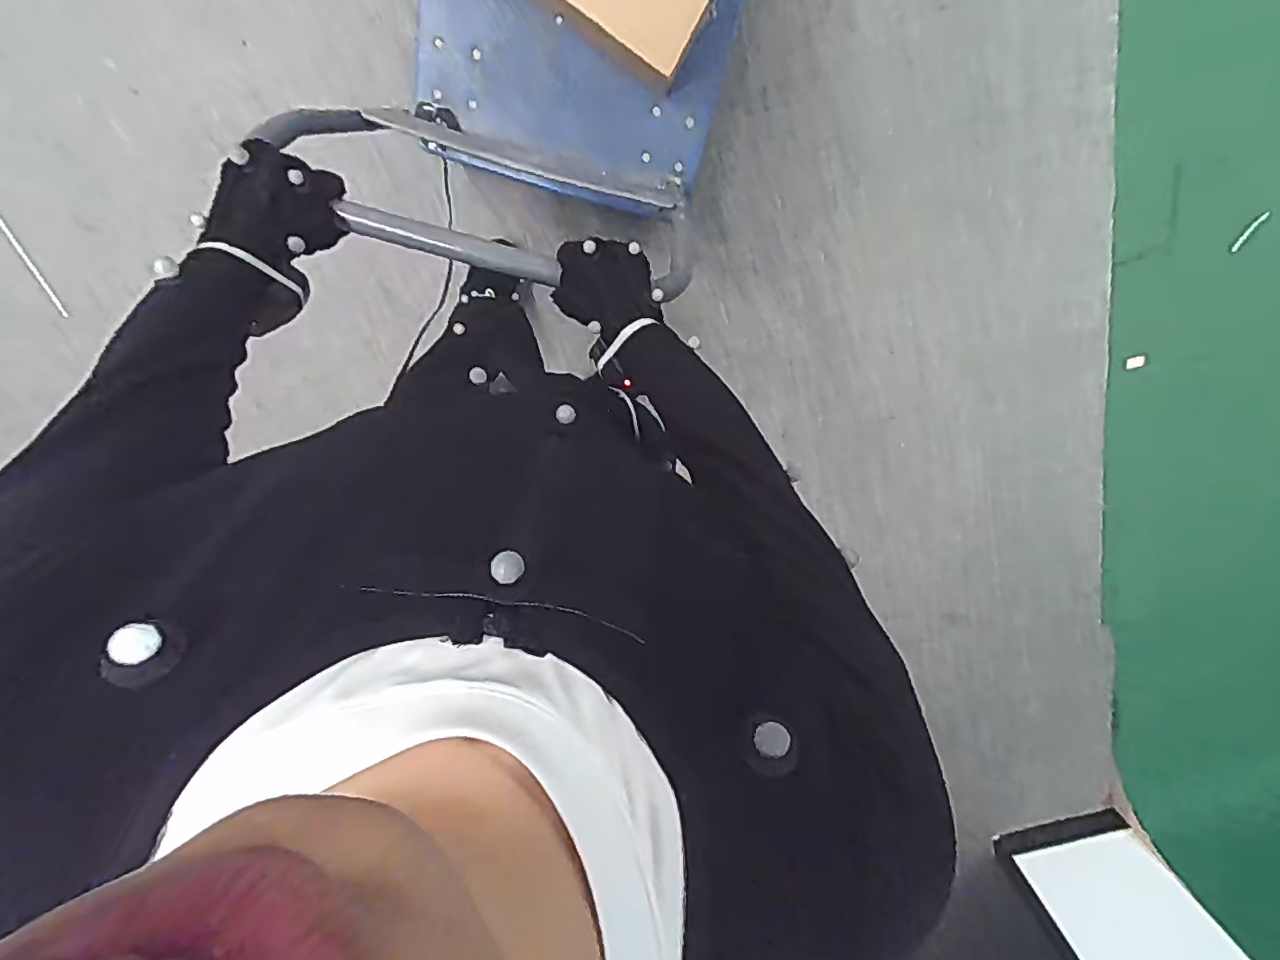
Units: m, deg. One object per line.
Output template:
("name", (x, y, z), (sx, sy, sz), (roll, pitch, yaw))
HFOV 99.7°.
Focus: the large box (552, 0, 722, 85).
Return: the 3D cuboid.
("large box", (-0.034, -0.869, 0.795), (0.408, 0.320, 0.320), (29, 118, -14))
